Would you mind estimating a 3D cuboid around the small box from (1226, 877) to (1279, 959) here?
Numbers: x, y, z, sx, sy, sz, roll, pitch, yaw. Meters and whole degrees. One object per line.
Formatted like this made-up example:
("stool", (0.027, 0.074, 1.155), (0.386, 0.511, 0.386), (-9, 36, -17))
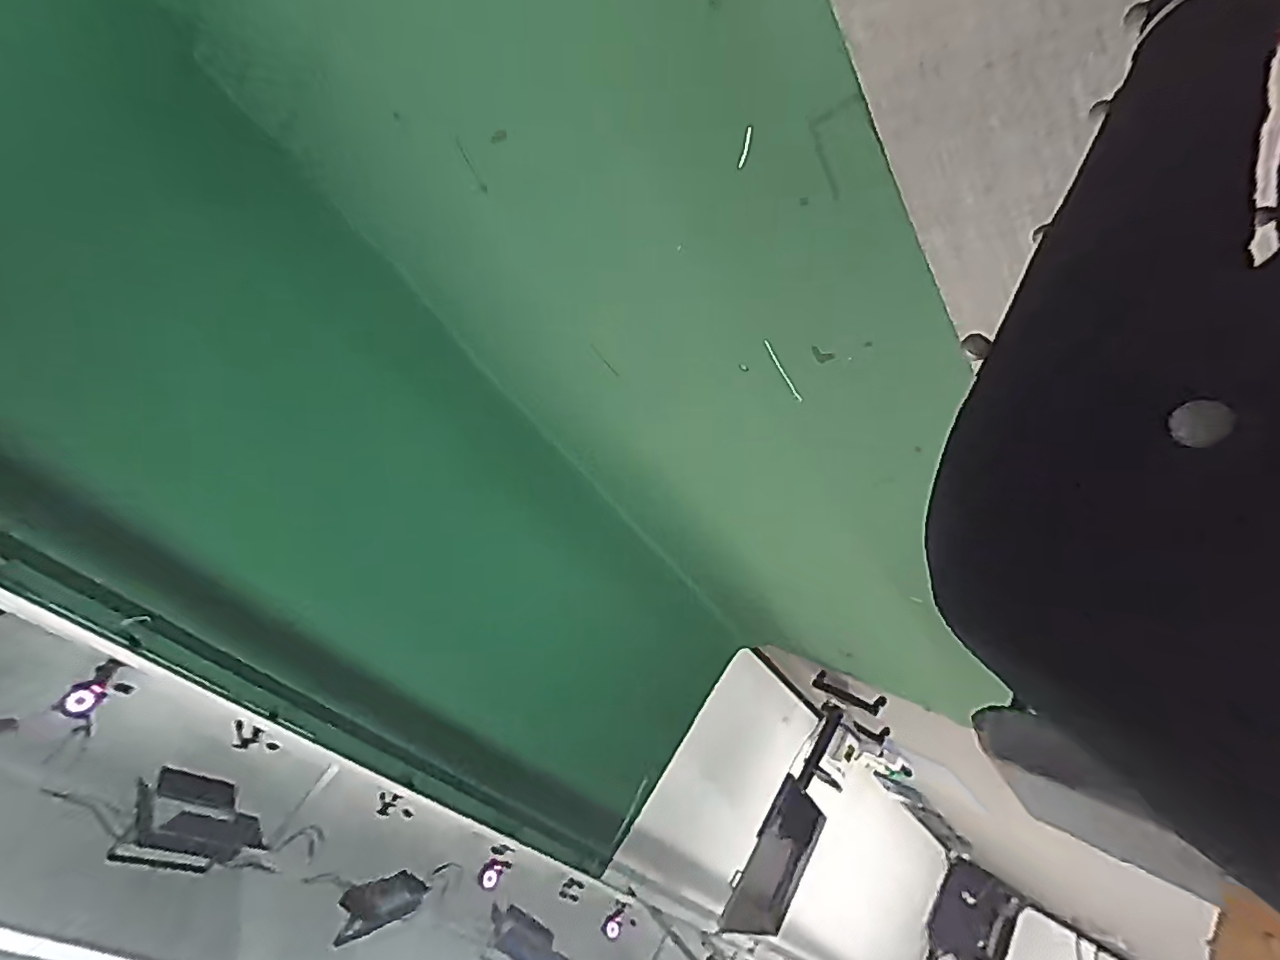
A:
("small box", (1.684, 1.198, 1.417), (0.168, 0.176, 0.179), (49, 158, -28))
